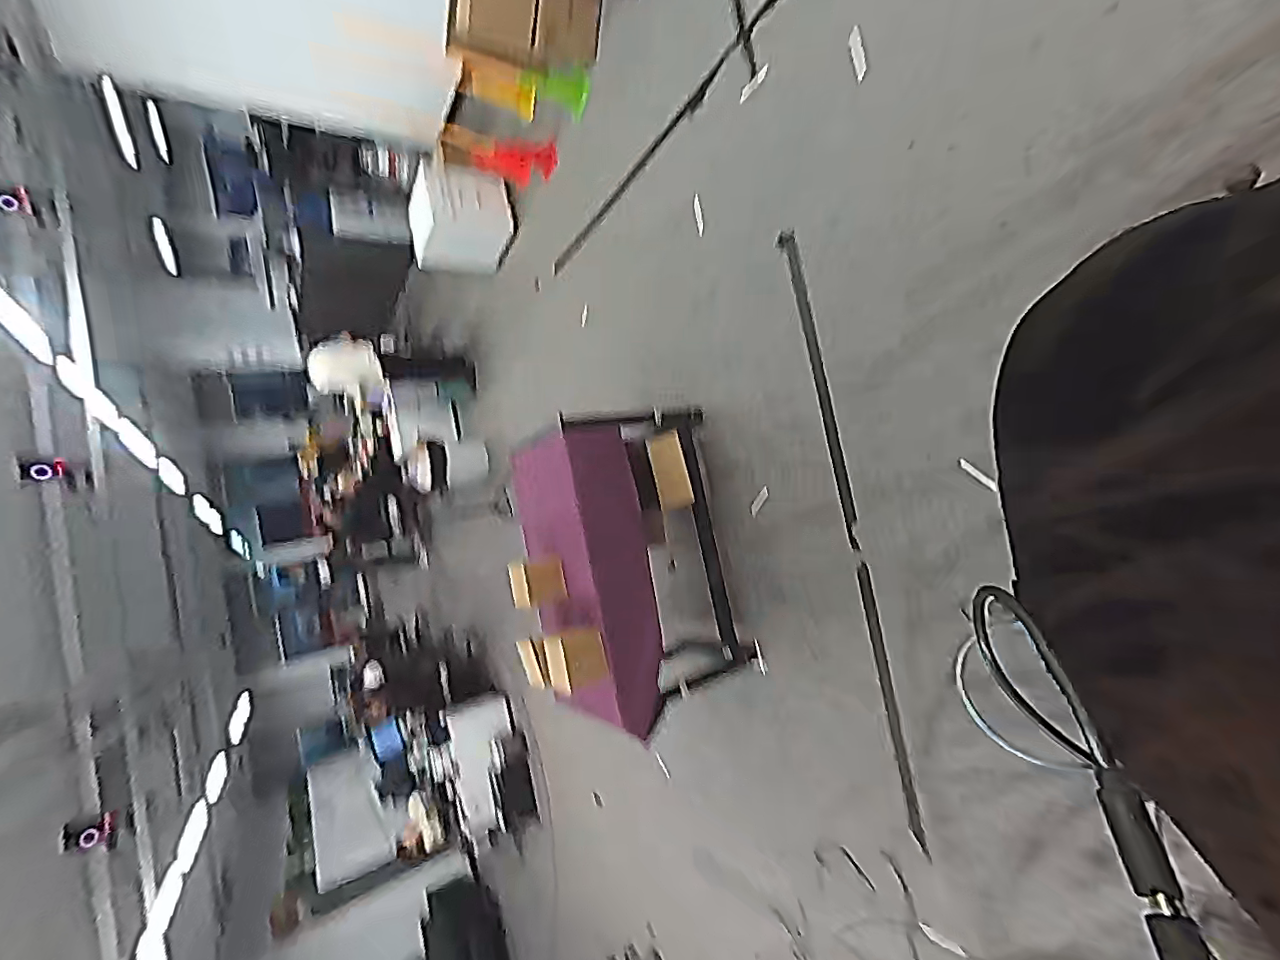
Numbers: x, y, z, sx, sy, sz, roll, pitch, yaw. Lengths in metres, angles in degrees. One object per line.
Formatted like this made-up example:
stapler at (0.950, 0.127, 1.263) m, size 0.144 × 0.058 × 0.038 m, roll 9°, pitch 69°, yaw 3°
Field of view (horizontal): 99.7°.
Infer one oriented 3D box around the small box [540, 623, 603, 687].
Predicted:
small box at (-0.254, 0.652, 2.031) m, size 0.168 × 0.176 × 0.179 m, roll -18°, pitch 83°, yaw 55°

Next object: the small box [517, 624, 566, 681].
small box at (-0.383, 0.707, 2.228) m, size 0.168 × 0.176 × 0.179 m, roll -21°, pitch 80°, yaw 54°
